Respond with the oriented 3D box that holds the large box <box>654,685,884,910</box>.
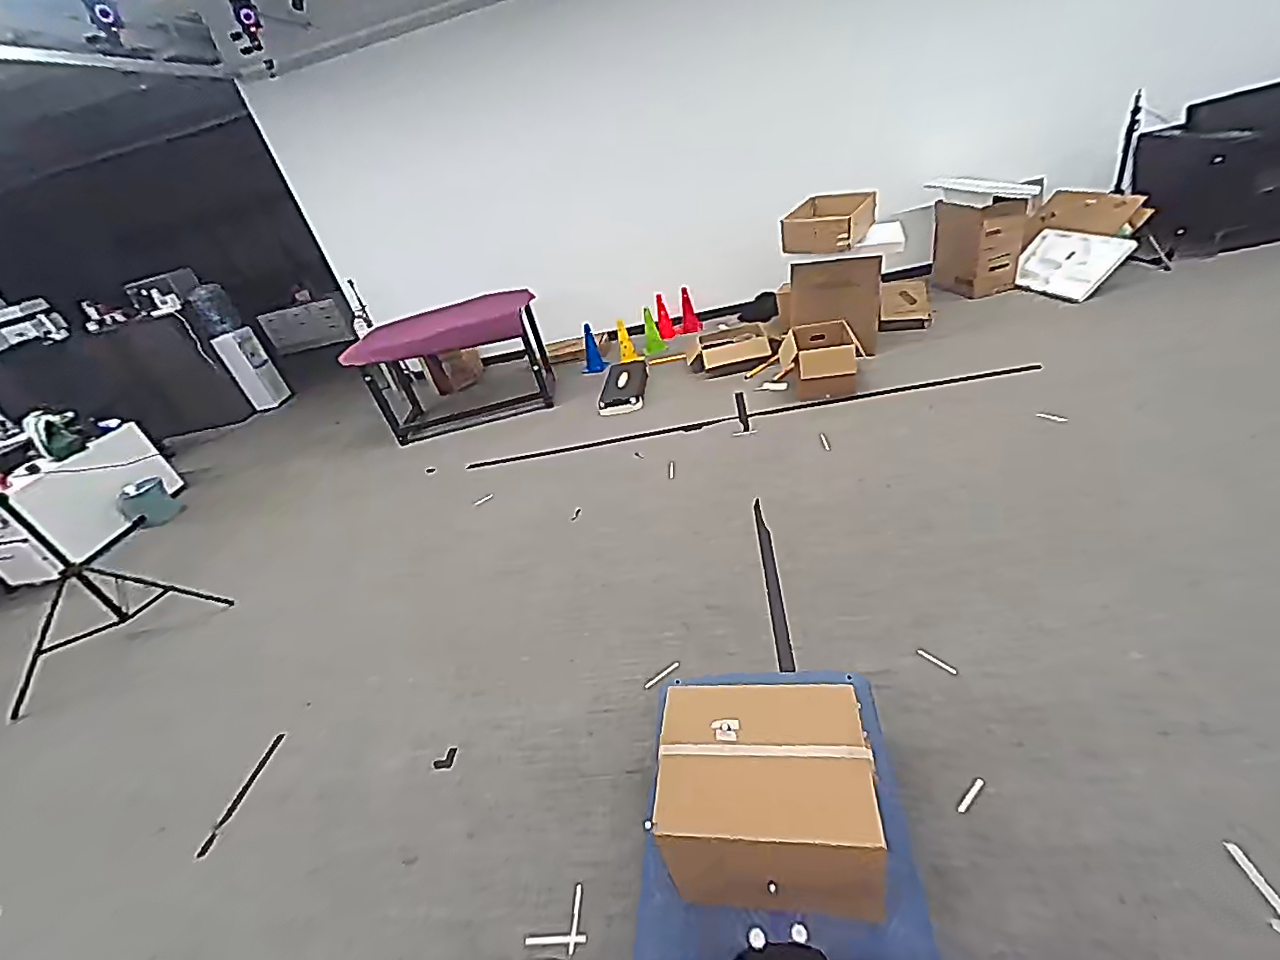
[{"bbox_3d":[0.272,0.672,1.157,0.408,0.320,0.320,-8,32,14],"label":"large box"}]
